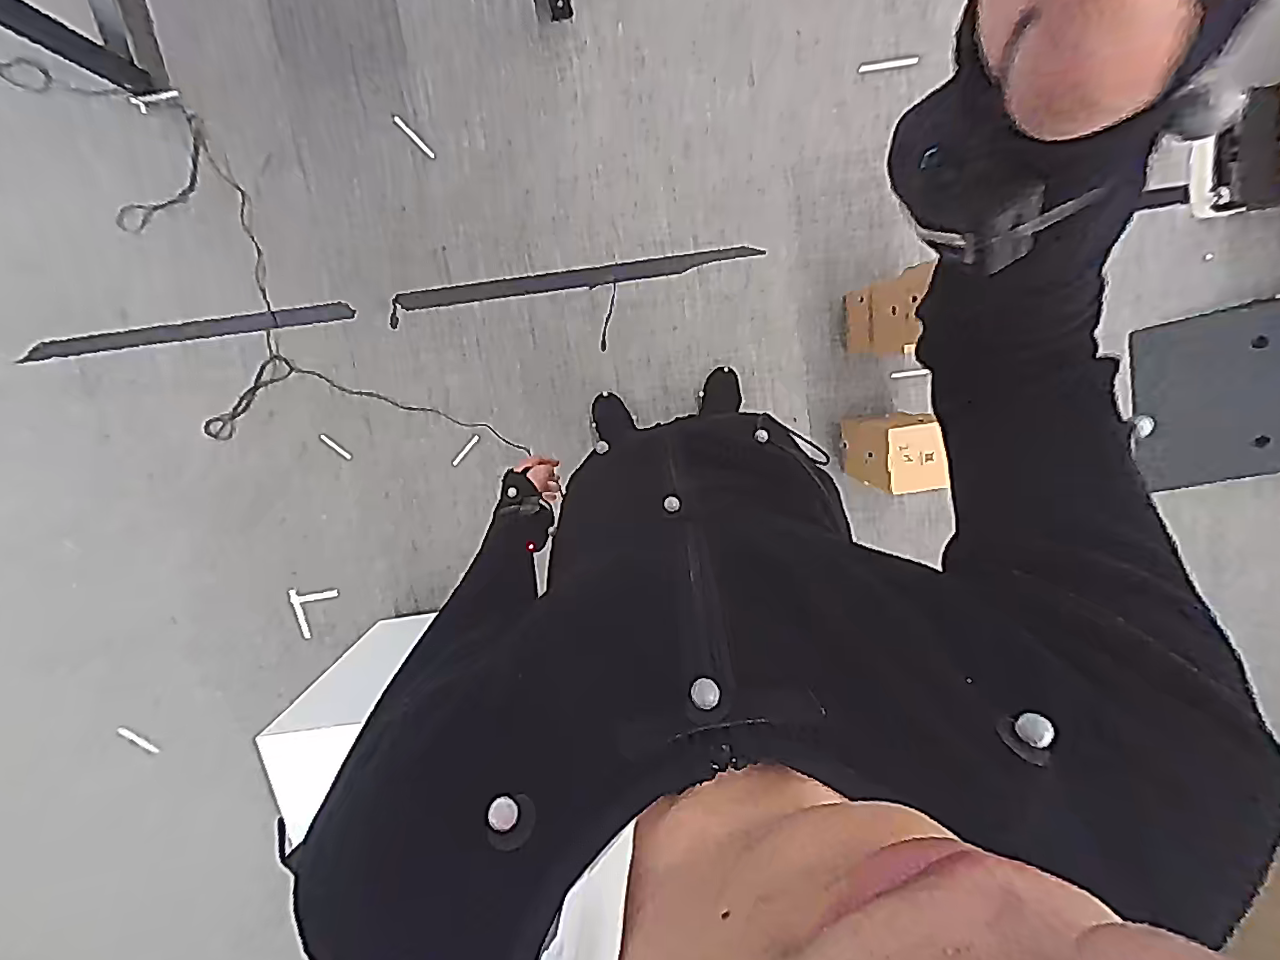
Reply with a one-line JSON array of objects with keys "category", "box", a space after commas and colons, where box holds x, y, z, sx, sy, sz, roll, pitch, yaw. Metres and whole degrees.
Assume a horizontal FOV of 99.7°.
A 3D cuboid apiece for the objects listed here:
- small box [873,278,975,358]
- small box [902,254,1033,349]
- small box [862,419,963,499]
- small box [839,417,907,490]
[{"category": "small box", "box": [0.674, -0.392, 1.295, 0.168, 0.176, 0.179, -8, 103, 2]}, {"category": "small box", "box": [0.677, -0.368, 1.134, 0.179, 0.176, 0.168, -6, 103, 3]}, {"category": "small box", "box": [0.684, -0.059, 1.368, 0.179, 0.176, 0.168, -8, 101, 3]}, {"category": "small box", "box": [0.686, -0.081, 1.532, 0.179, 0.176, 0.168, -9, 100, 4]}]
